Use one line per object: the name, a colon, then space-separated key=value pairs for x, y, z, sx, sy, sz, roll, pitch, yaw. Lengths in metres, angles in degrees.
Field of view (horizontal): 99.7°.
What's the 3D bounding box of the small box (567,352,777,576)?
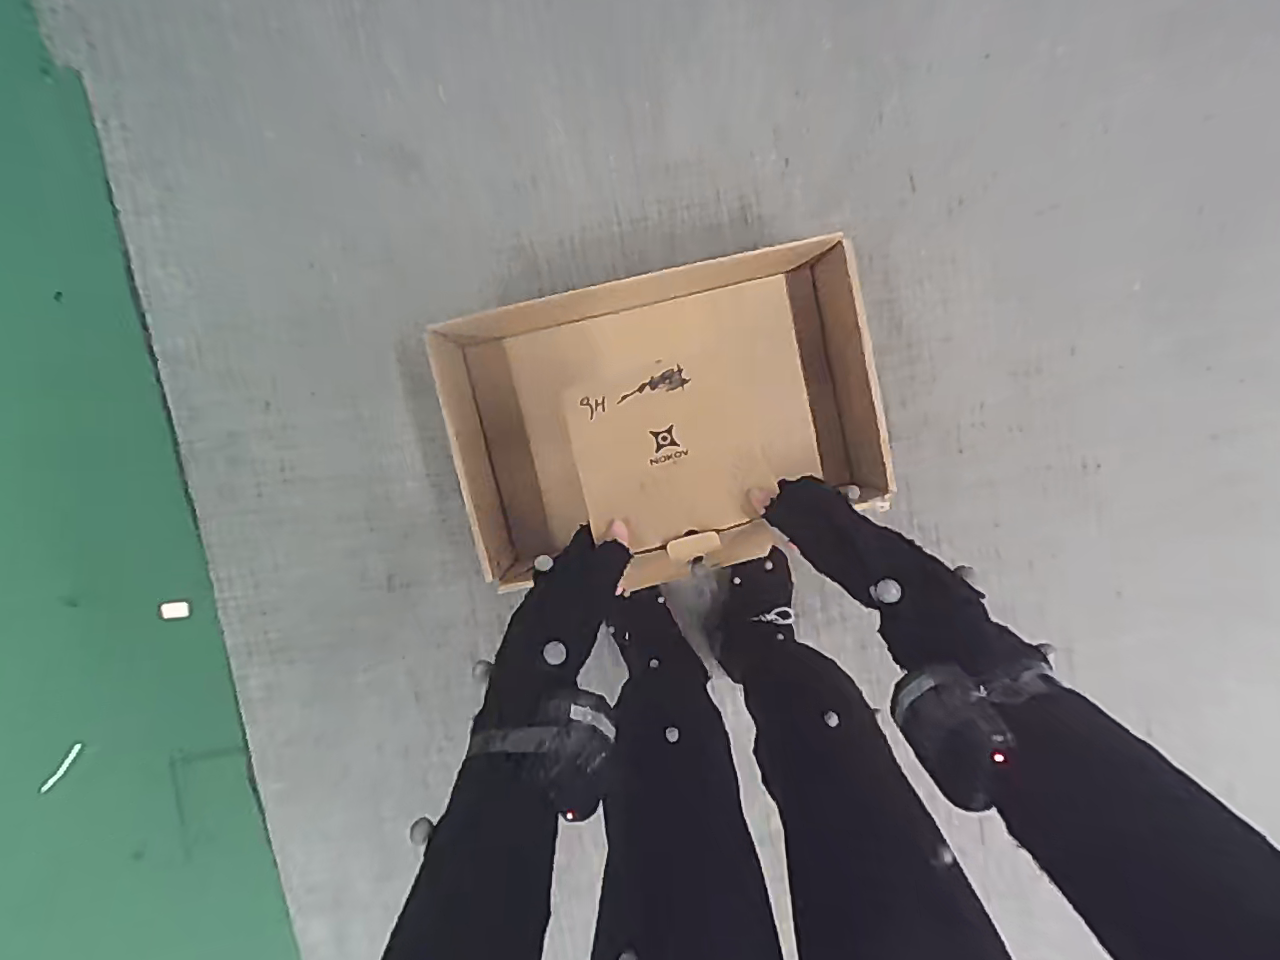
small box: x=0.037 y=-0.002 z=0.578 sx=0.168 sy=0.176 sz=0.179 roll=-16 pitch=71 yaw=3
